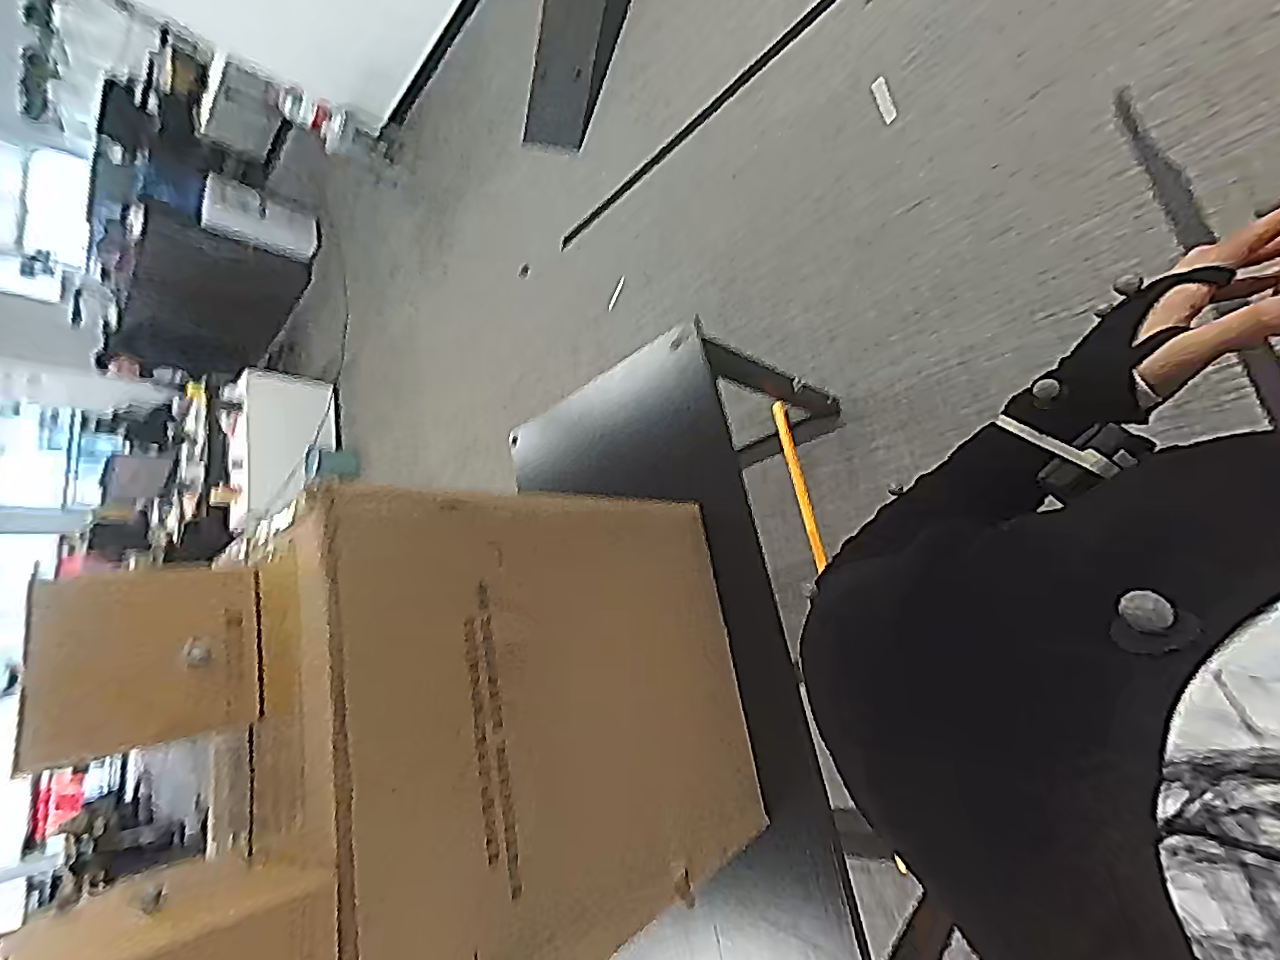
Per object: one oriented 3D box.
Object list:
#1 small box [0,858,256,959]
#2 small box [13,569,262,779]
[{"bbox_3d":[-0.481,0.483,0.505,0.179,0.176,0.168,-28,67,39],"label":"small box"},{"bbox_3d":[-0.516,0.196,0.566,0.179,0.176,0.168,-28,69,38],"label":"small box"}]
